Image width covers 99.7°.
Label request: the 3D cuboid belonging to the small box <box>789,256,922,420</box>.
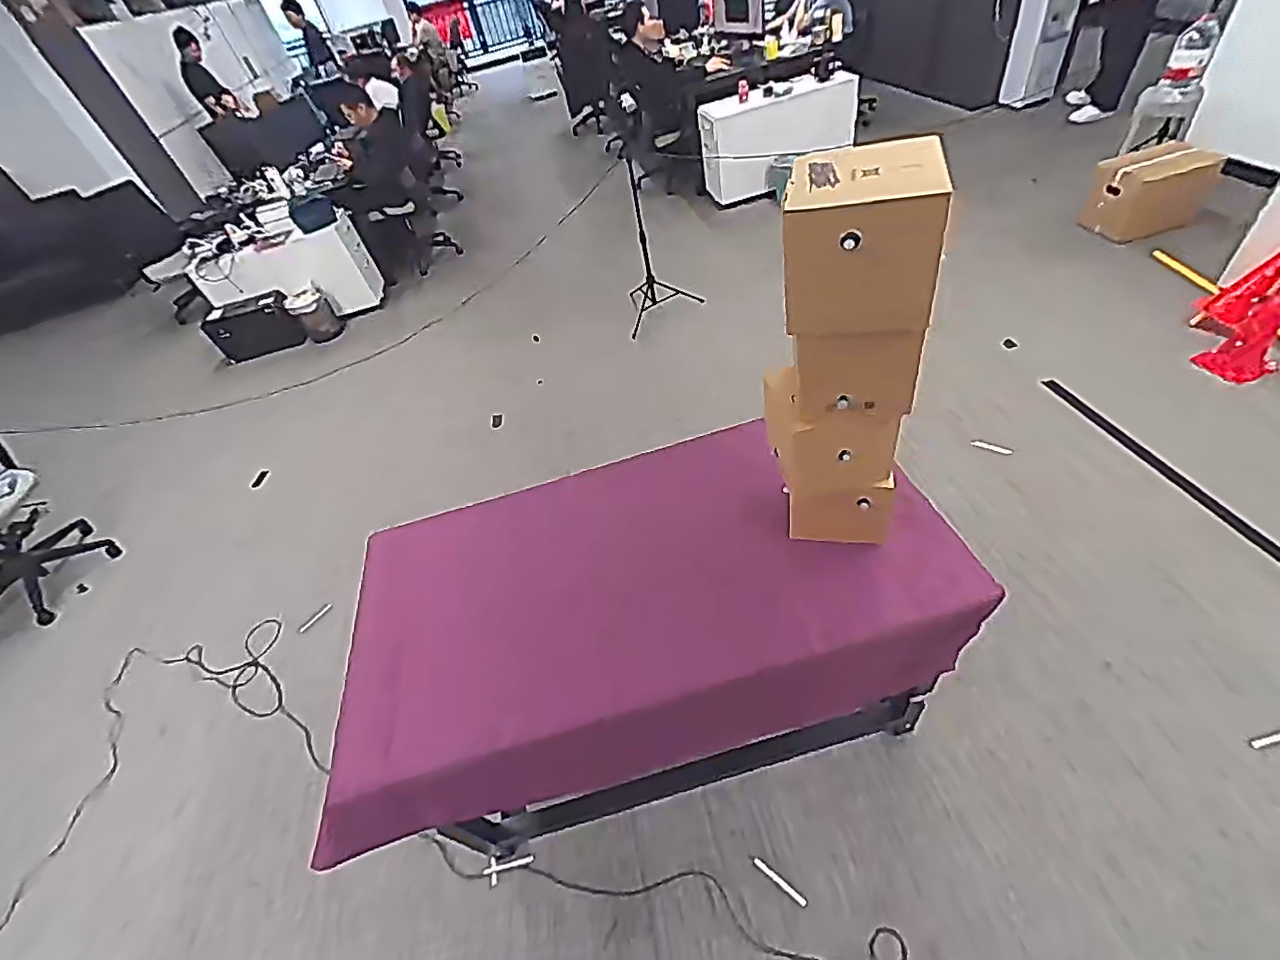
[{"bbox_3d":[0.314,-0.212,0.825,0.168,0.176,0.179,-3,49,16],"label":"small box"}]

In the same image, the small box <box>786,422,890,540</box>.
[{"bbox_3d":[0.382,0.003,1.063,0.179,0.176,0.168,2,48,17],"label":"small box"}]
